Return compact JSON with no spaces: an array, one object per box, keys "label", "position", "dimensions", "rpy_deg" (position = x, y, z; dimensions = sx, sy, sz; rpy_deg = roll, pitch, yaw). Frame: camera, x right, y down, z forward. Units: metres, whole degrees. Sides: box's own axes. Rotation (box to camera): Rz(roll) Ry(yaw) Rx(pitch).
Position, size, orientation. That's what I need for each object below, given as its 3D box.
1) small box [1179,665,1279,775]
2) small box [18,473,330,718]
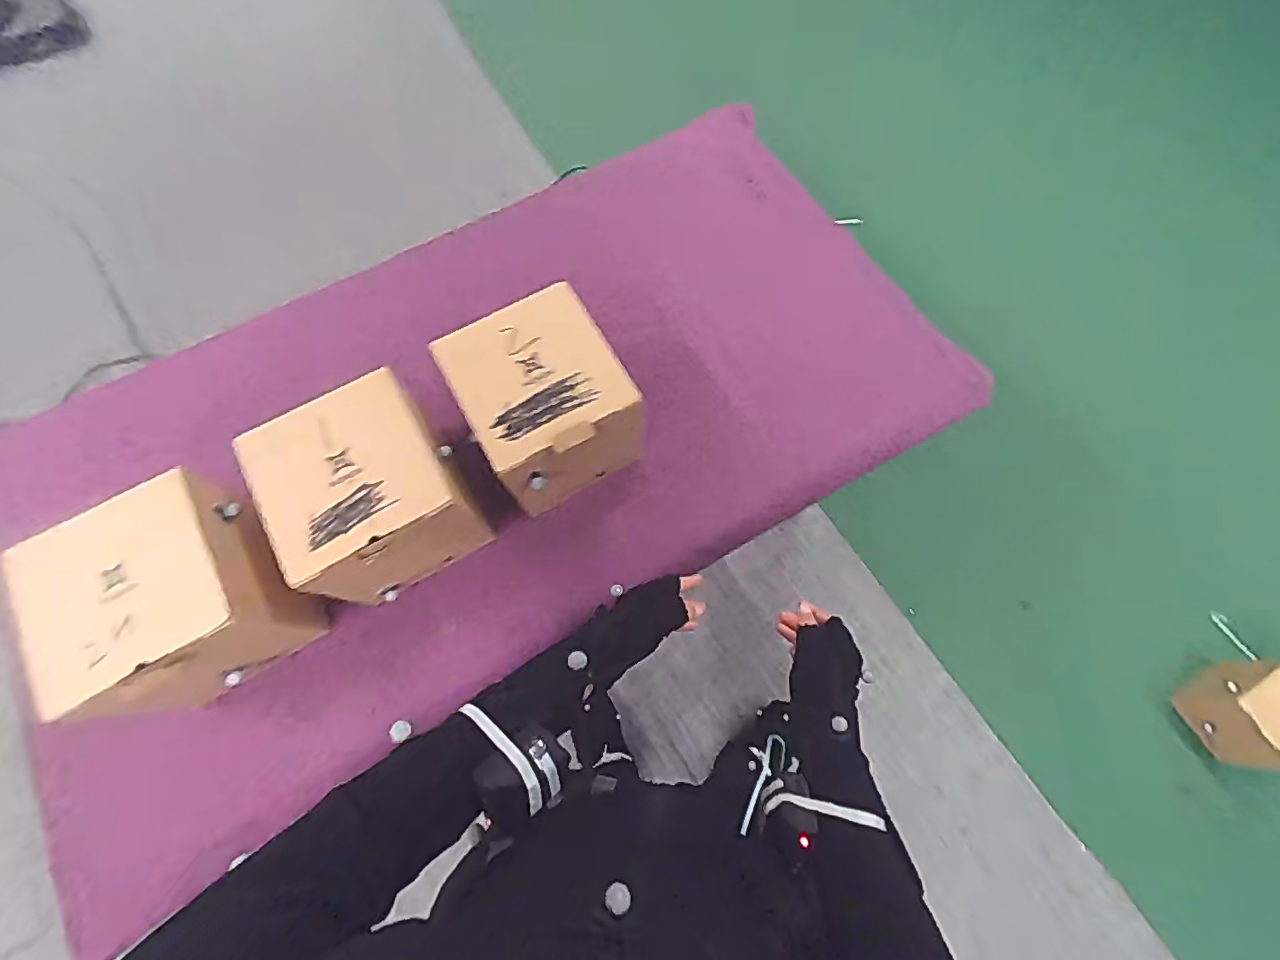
[{"label":"small box","position":[1.389,0.527,1.205],"dimensions":[0.179,0.176,0.168],"rpy_deg":[-29,74,-9]},{"label":"small box","position":[-0.476,0.126,0.577],"dimensions":[0.168,0.176,0.179],"rpy_deg":[-30,74,-10]}]
